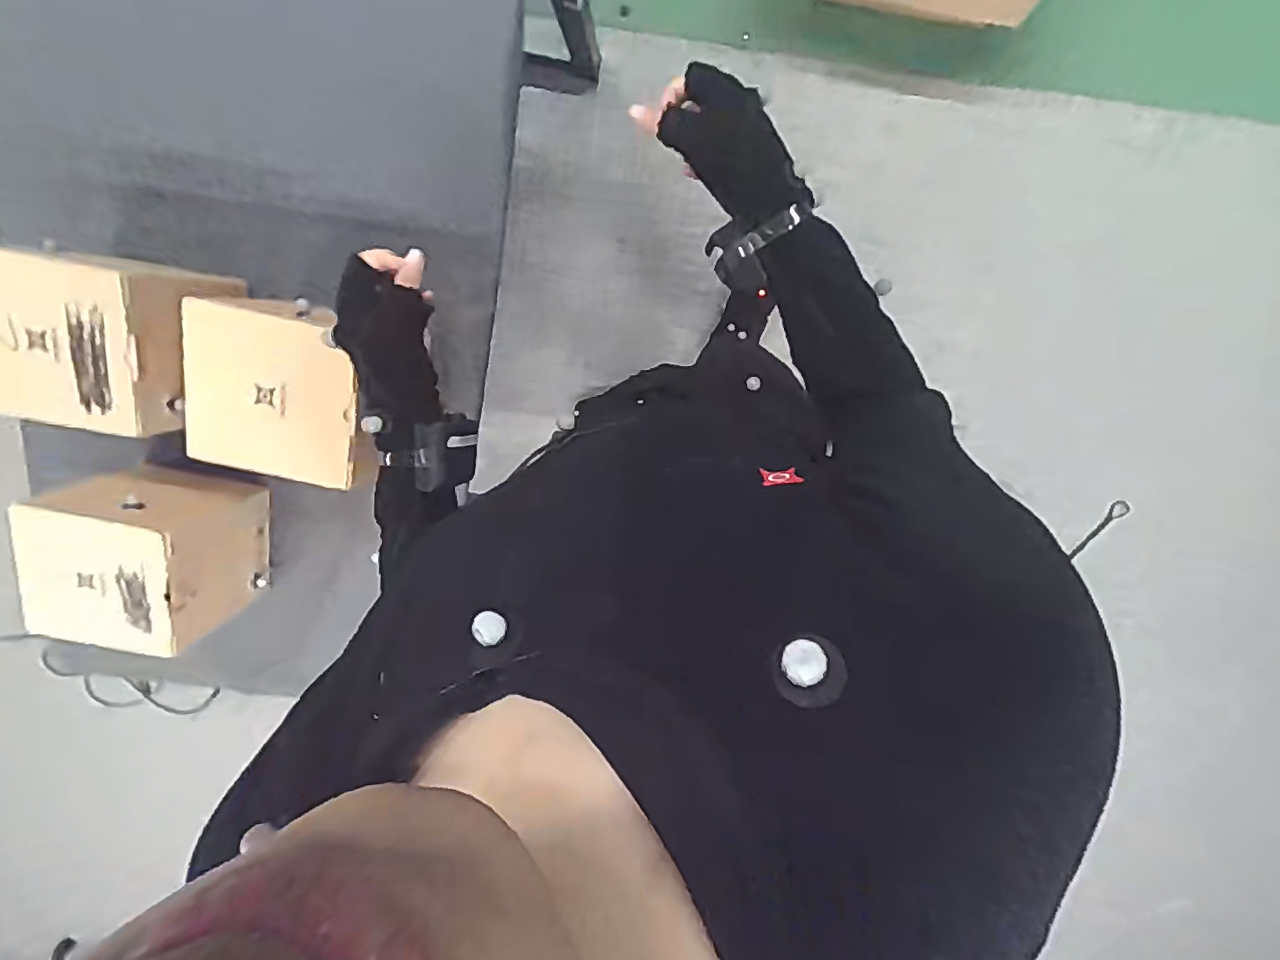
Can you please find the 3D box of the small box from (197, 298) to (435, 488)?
[{"bbox_3d":[-0.366,-0.106,0.632,0.179,0.176,0.168,12,106,-1],"label":"small box"}]

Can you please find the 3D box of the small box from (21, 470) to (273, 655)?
[{"bbox_3d":[-0.610,0.095,0.697,0.179,0.176,0.168,11,106,-1],"label":"small box"}]
